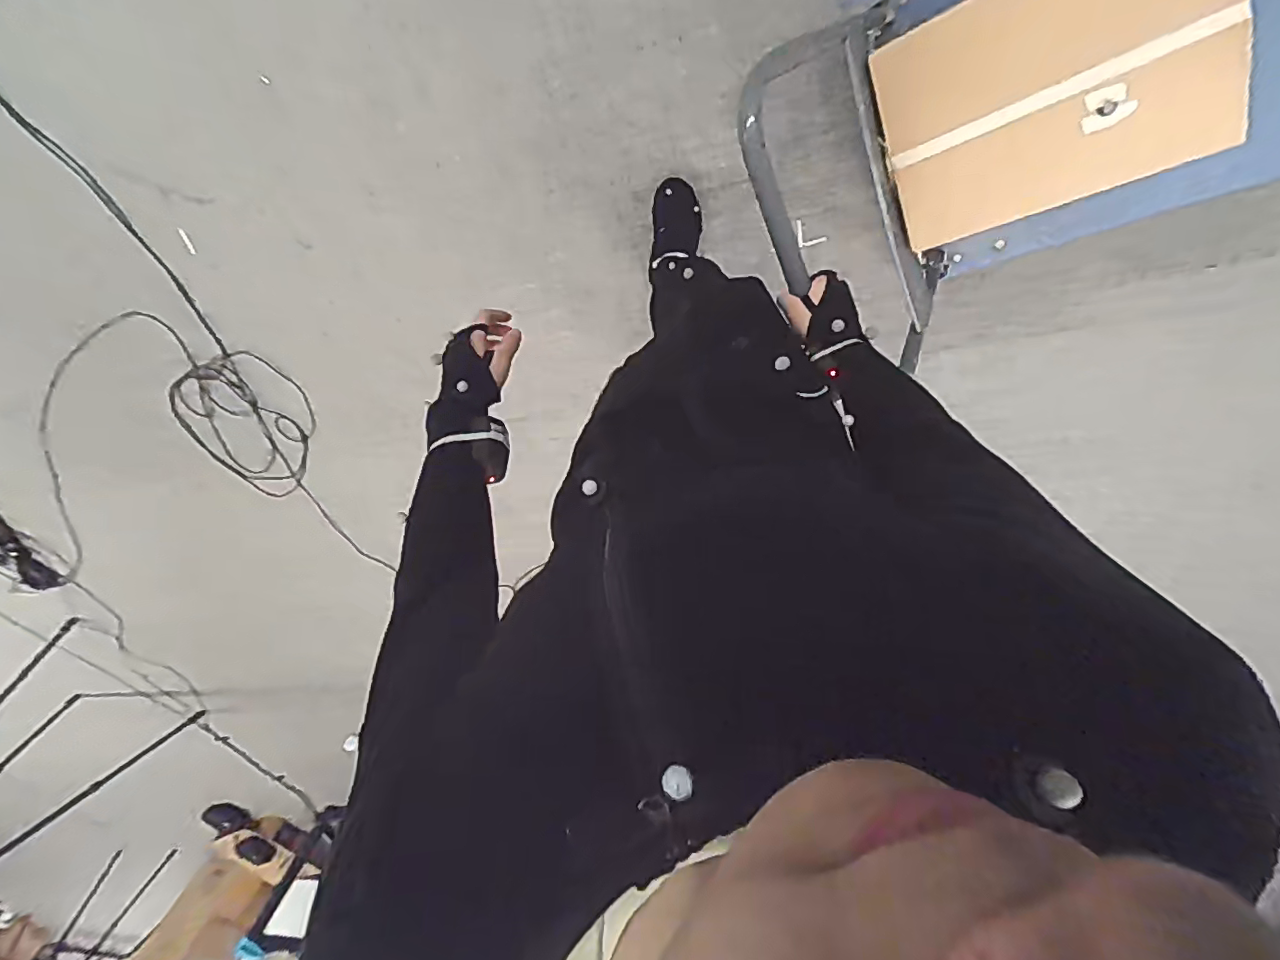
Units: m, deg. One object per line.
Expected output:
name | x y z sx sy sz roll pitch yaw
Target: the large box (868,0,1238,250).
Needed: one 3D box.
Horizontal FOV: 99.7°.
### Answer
large box | 0.631 -0.637 0.879 0.408 0.320 0.320 -9 122 35
